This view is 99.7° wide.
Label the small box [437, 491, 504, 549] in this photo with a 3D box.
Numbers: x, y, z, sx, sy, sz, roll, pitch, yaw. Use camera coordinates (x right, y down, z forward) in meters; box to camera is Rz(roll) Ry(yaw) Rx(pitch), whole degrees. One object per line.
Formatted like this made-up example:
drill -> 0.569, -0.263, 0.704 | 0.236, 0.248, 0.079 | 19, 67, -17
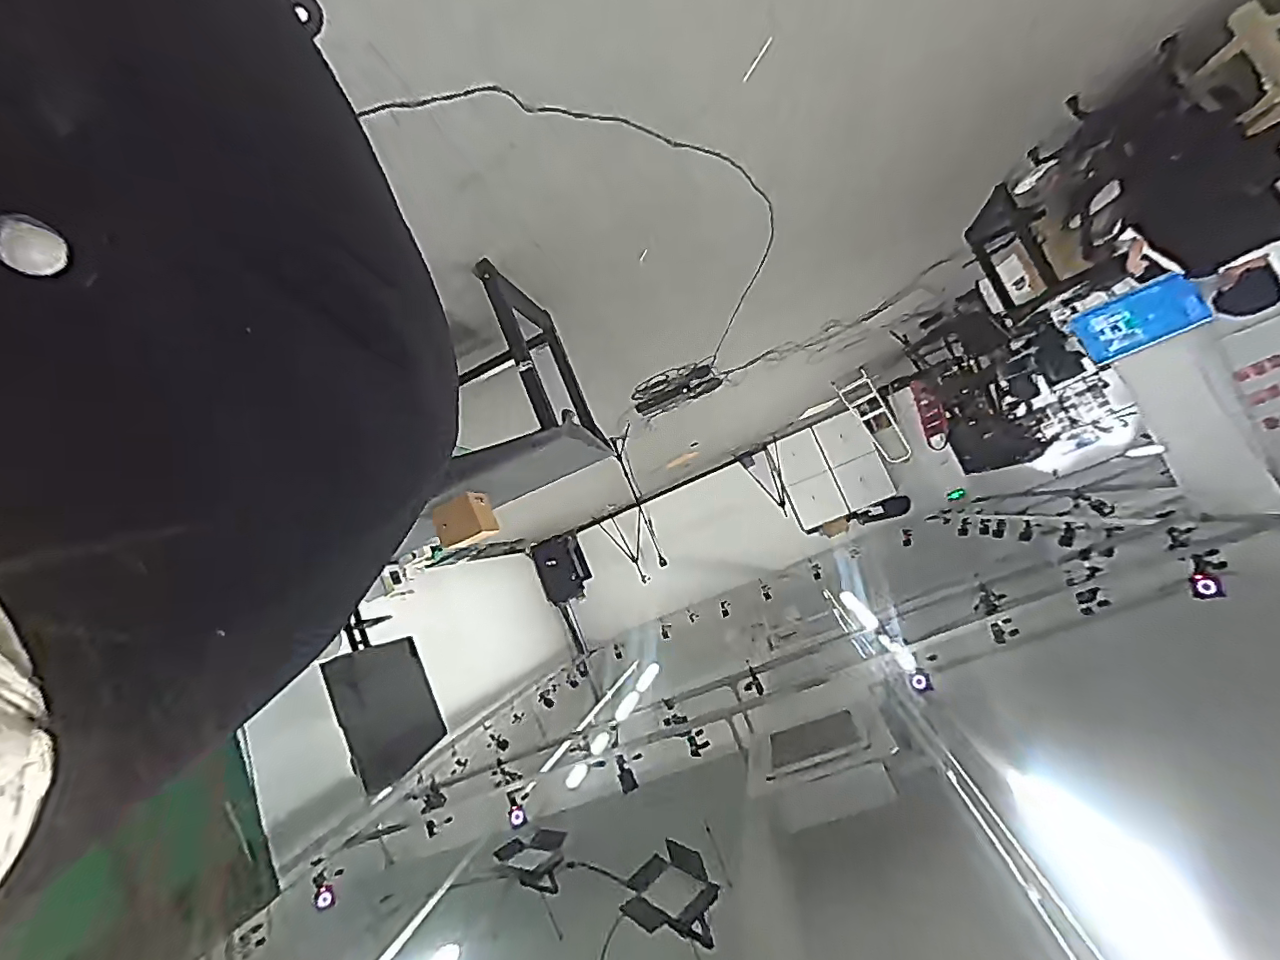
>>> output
small box -> -0.666, 0.155, 2.104 | 0.179, 0.176, 0.168 | -25, 173, 8
